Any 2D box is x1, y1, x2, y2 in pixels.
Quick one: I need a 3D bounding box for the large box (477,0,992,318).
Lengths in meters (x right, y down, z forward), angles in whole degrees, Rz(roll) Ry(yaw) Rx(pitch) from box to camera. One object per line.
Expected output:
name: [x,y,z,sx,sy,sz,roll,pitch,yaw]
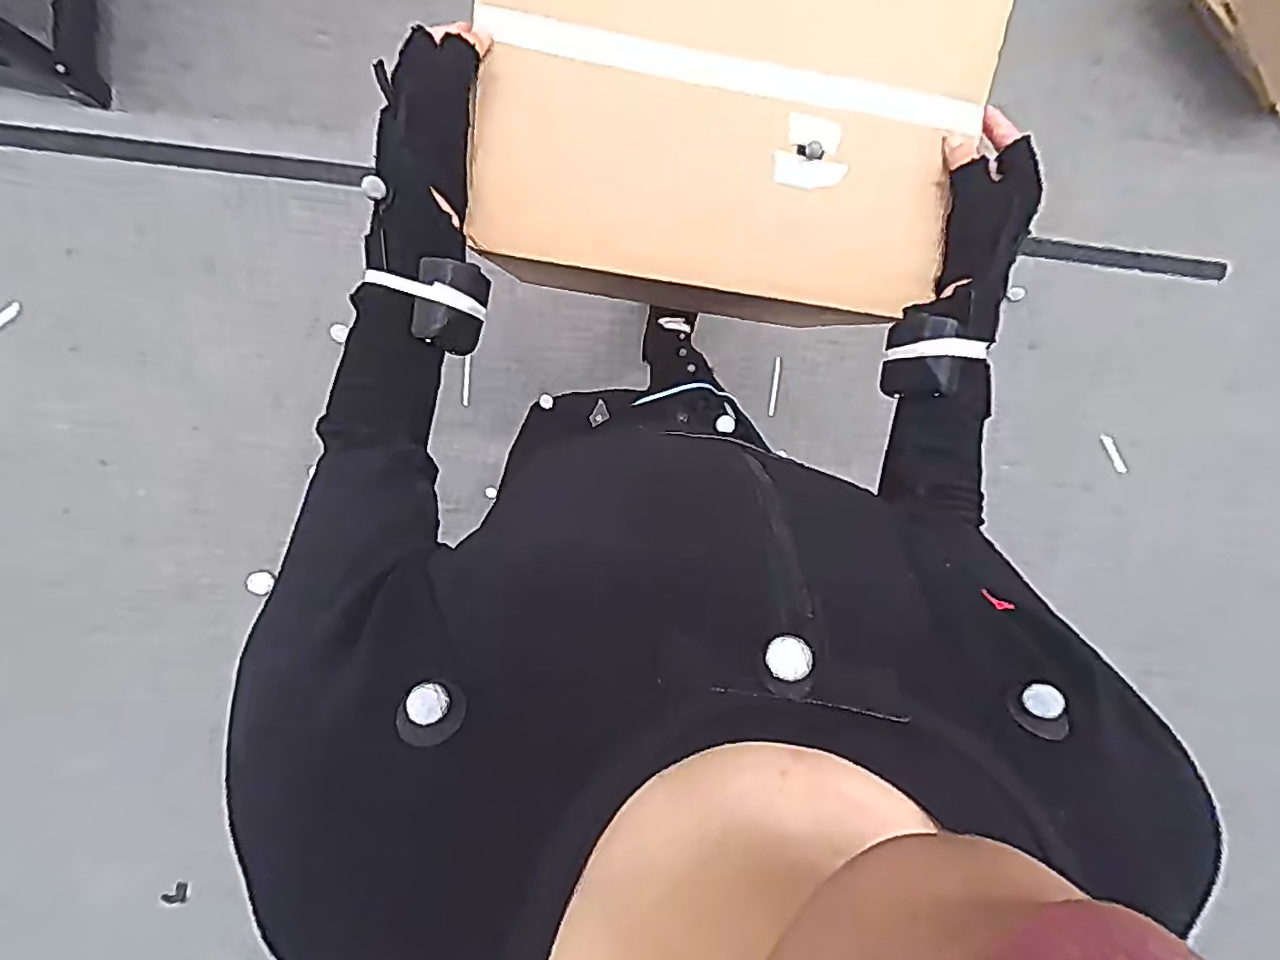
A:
large box: [0.064,-0.363,0.582,0.408,0.320,0.320,7,105,-6]
